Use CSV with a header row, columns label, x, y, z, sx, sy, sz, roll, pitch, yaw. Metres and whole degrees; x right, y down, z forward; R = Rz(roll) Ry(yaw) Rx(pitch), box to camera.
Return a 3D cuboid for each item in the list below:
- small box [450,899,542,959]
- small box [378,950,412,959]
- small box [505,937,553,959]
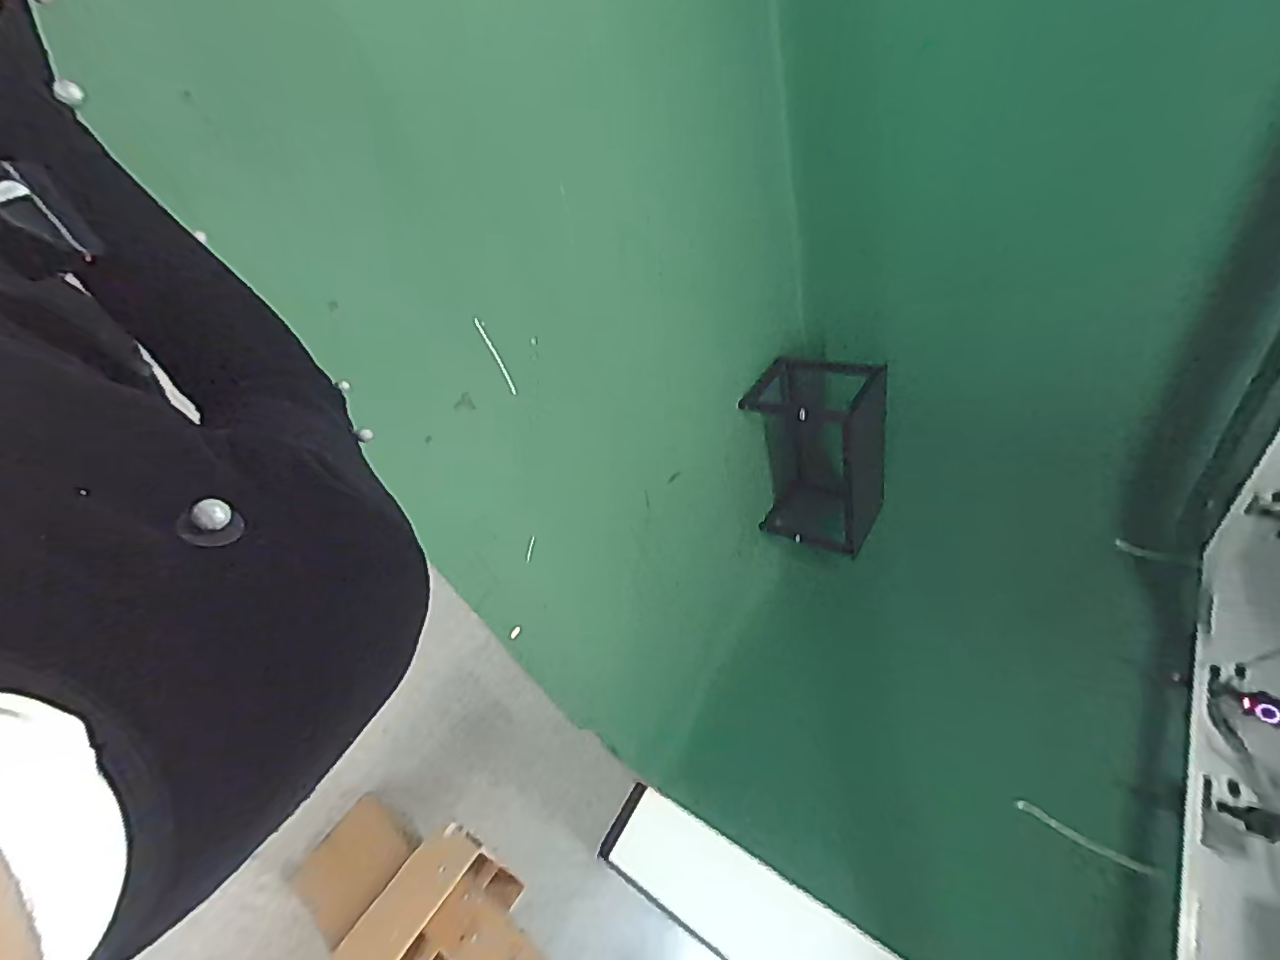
label,x,y,z,sx,sy,sz,roll,pitch,yaw
small box,-0.433,1.414,1.628,0.168,0.176,0.179,-48,136,-32
small box,-0.720,1.527,1.574,0.168,0.176,0.179,-46,135,-33
small box,-0.307,1.450,1.531,0.168,0.176,0.179,-47,136,-33
